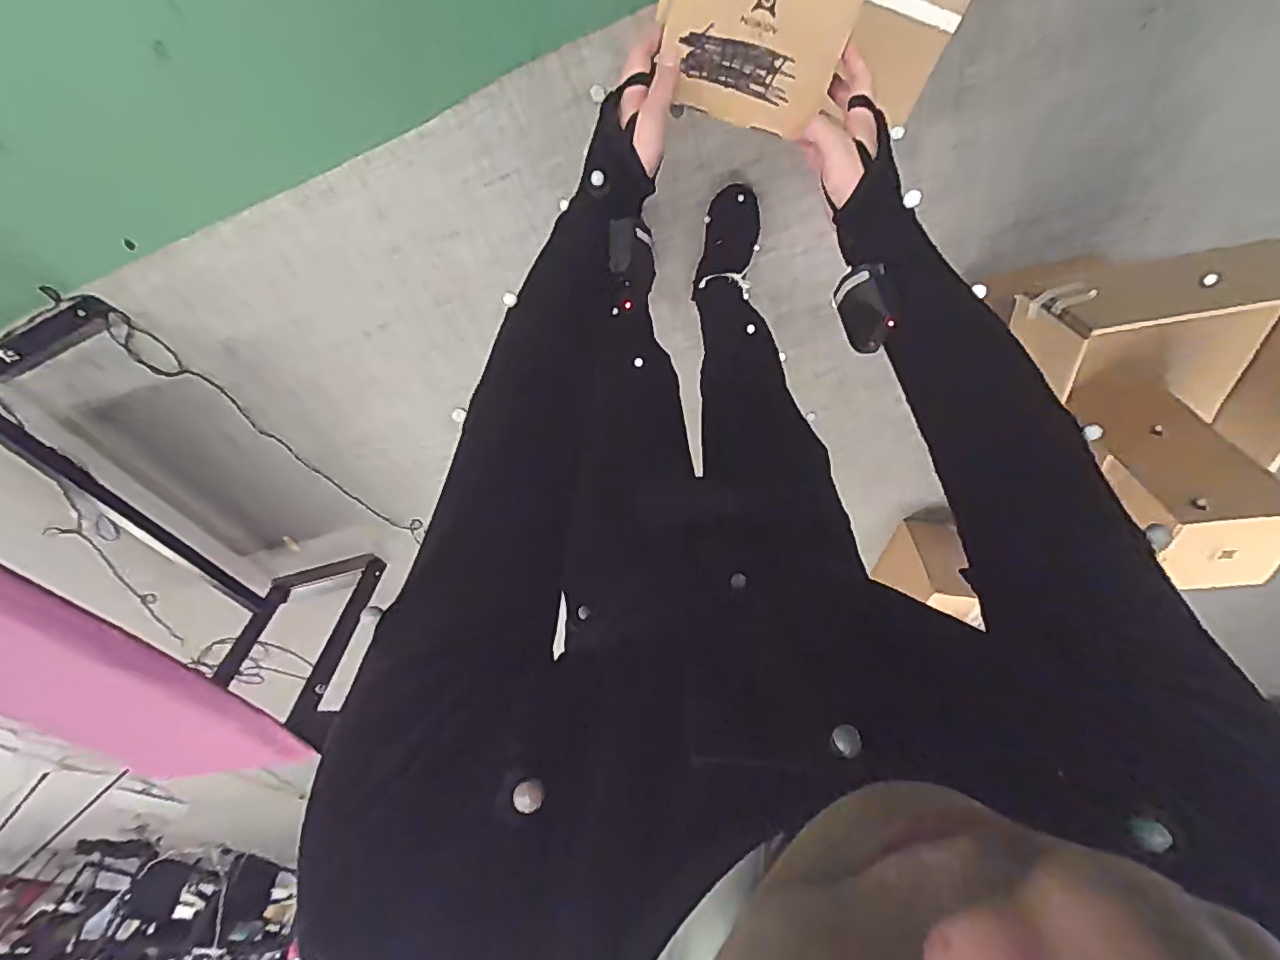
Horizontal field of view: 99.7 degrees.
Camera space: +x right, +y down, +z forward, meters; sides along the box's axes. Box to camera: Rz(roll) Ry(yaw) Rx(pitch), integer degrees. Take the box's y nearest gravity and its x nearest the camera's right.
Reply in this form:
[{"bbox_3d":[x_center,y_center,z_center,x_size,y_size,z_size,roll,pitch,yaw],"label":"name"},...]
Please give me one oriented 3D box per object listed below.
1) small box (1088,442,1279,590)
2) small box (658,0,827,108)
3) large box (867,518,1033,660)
[{"bbox_3d":[0.886,0.055,0.870,0.179,0.176,0.168,-7,131,11],"label":"small box"},{"bbox_3d":[0.130,-0.600,0.665,0.168,0.176,0.179,15,131,-12],"label":"small box"},{"bbox_3d":[1.027,0.385,1.858,0.320,0.320,0.408,4,132,-1],"label":"large box"}]
